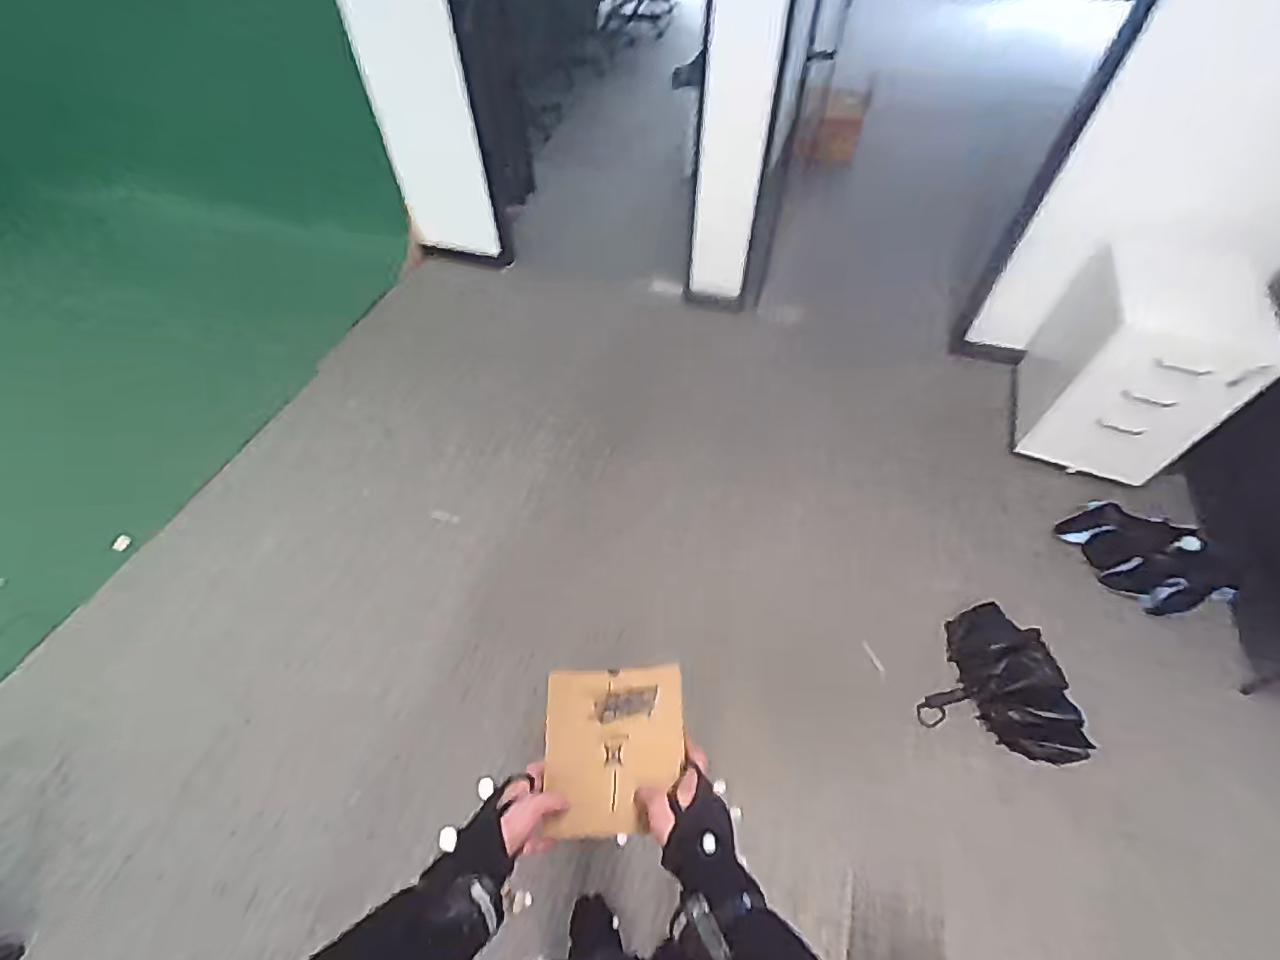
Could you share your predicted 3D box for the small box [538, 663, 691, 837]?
[{"bbox_3d":[-0.024,0.339,0.682,0.168,0.176,0.179,-4,62,4],"label":"small box"}]
